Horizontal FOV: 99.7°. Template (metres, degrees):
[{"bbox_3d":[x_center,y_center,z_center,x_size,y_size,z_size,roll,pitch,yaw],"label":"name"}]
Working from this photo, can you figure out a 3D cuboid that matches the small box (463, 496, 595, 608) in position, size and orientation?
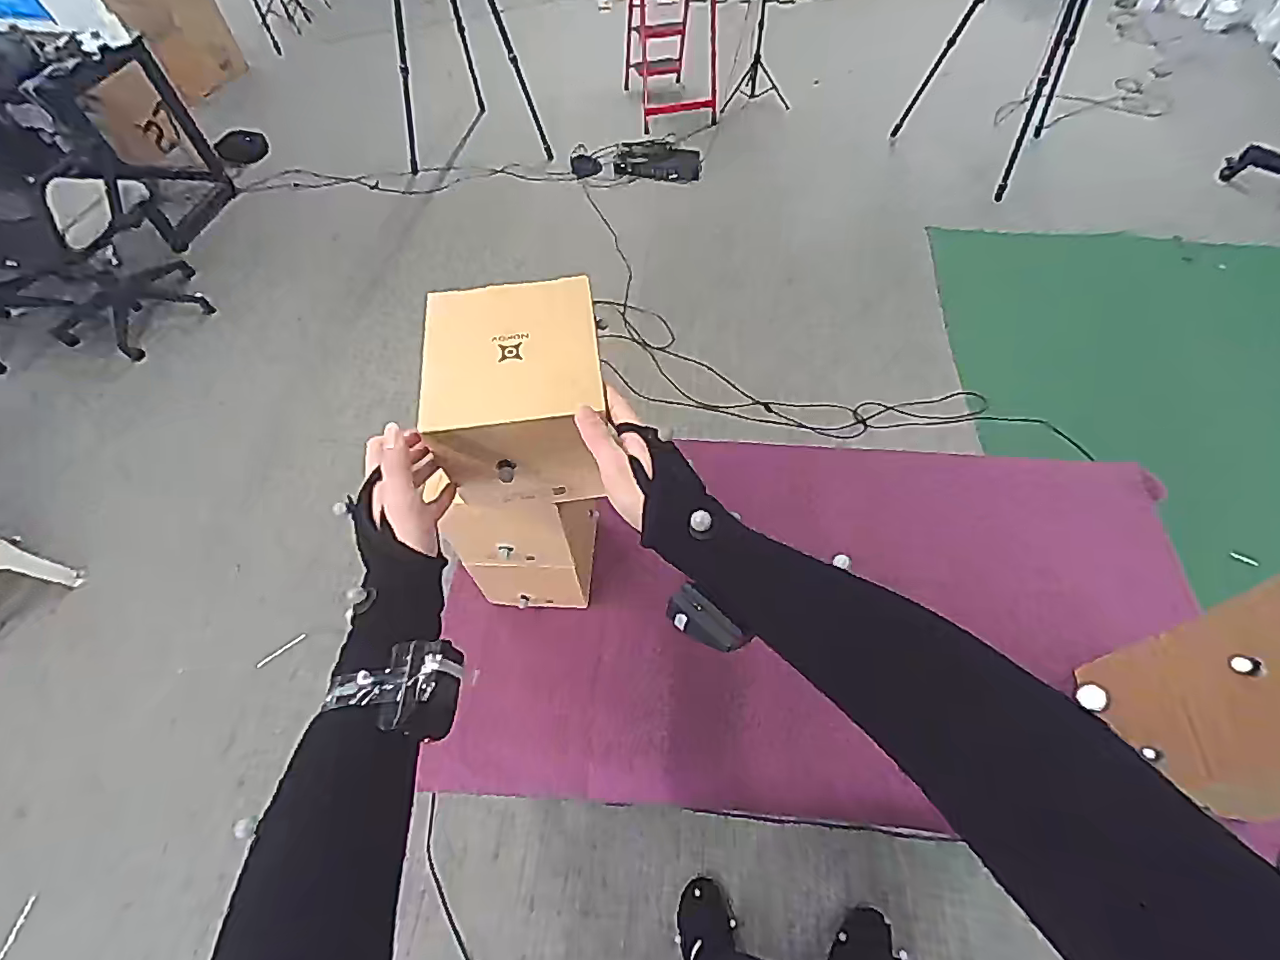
[{"bbox_3d":[-0.168,0.094,0.885,0.168,0.176,0.179,2,57,3],"label":"small box"}]

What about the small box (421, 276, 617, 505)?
[{"bbox_3d":[-0.119,-0.084,0.580,0.168,0.176,0.179,-8,61,-3],"label":"small box"}]

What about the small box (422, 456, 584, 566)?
[{"bbox_3d":[-0.172,0.002,0.749,0.168,0.176,0.179,1,57,4],"label":"small box"}]
